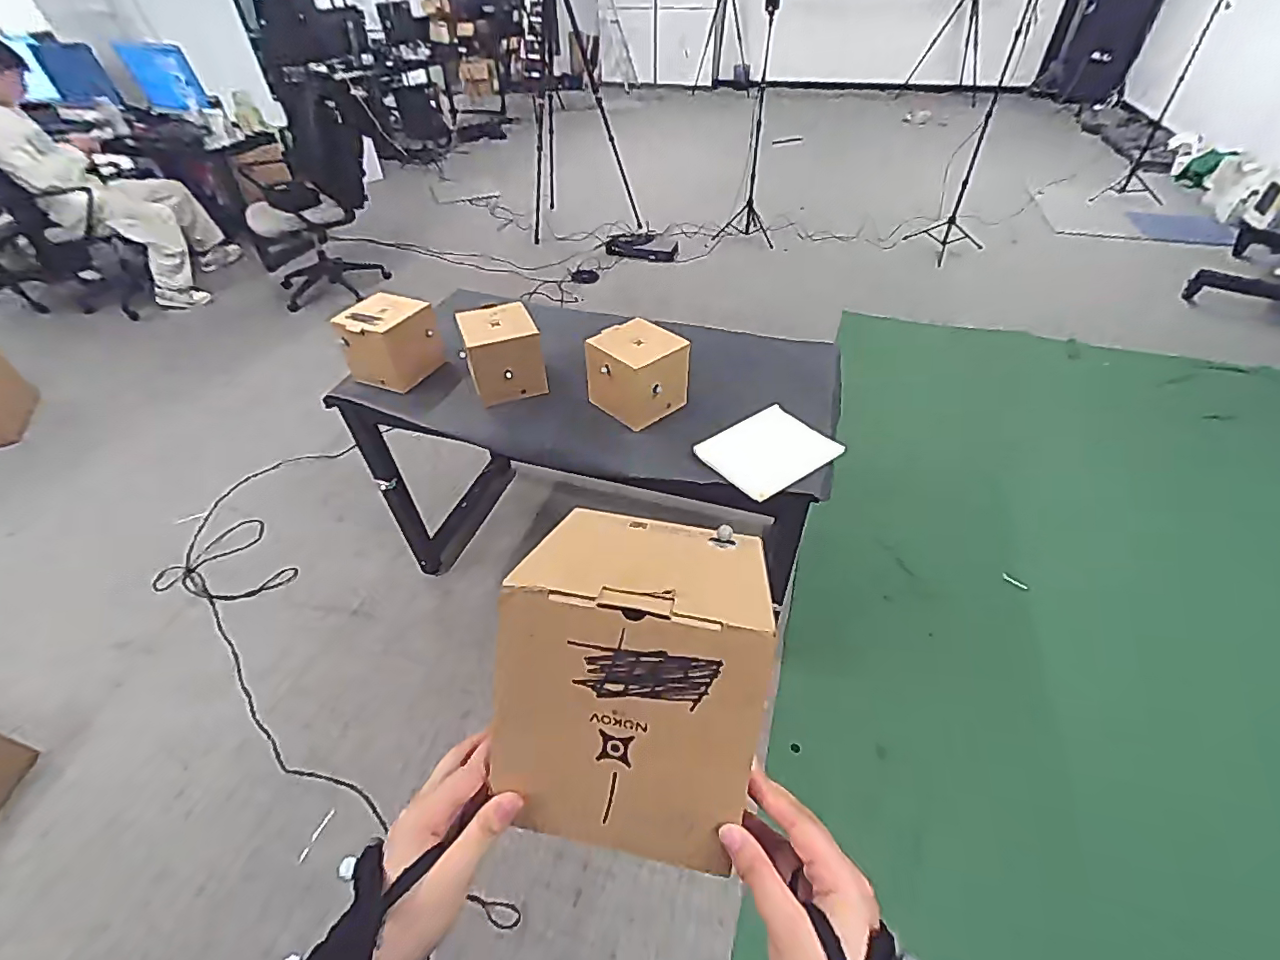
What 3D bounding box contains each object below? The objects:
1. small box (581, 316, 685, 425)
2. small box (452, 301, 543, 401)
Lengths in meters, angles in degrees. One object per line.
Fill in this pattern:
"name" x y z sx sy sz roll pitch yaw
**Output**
"small box" -0.013 -0.248 1.249 0.168 0.176 0.179 -33 51 -29
"small box" -0.345 -0.309 1.321 0.168 0.176 0.179 -16 45 -16
